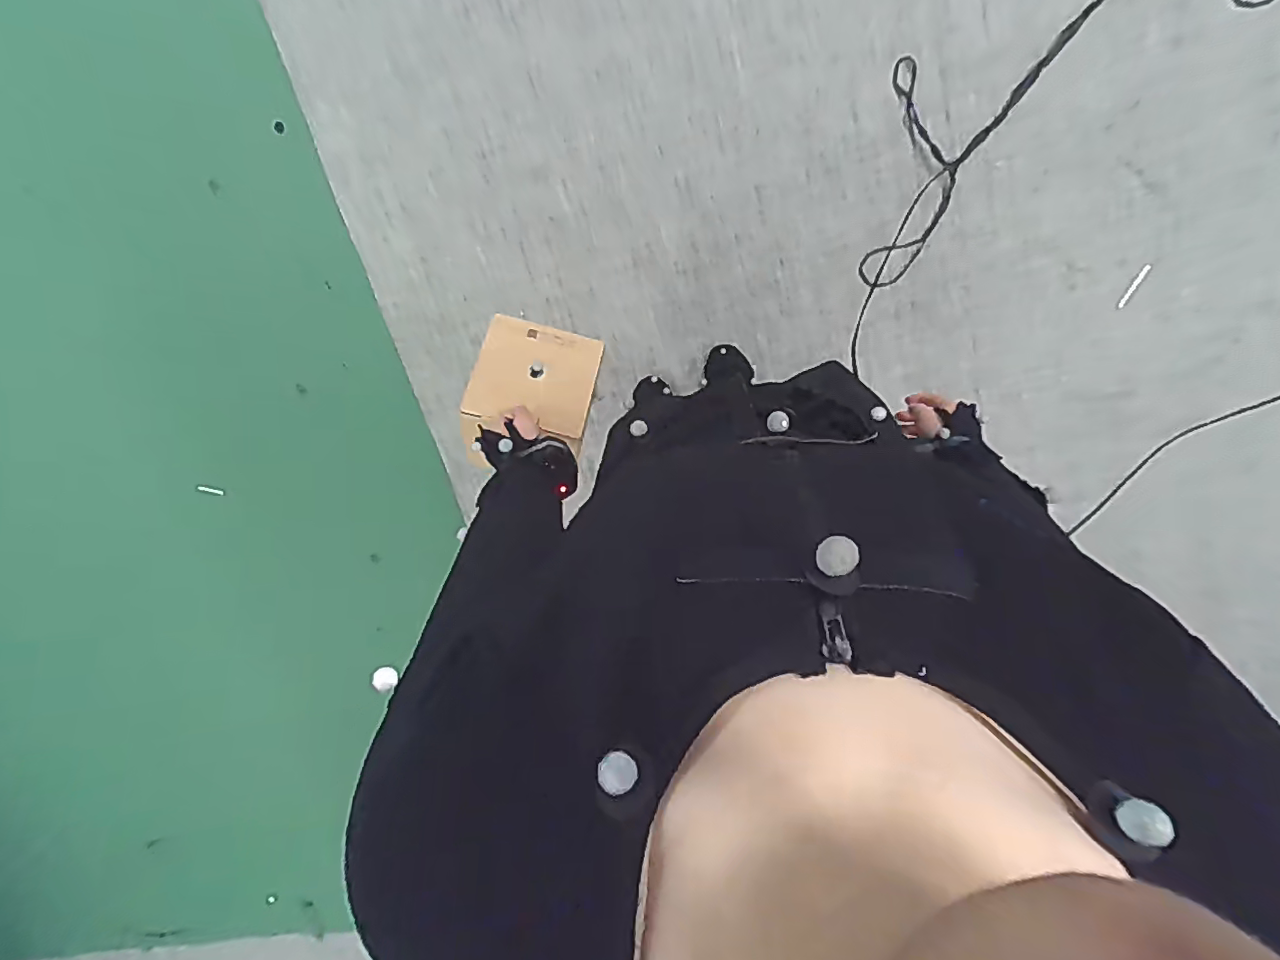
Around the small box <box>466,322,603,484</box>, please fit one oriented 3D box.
[{"bbox_3d":[-0.155,-0.113,0.826,0.168,0.179,0.176,12,69,-6],"label":"small box"}]
